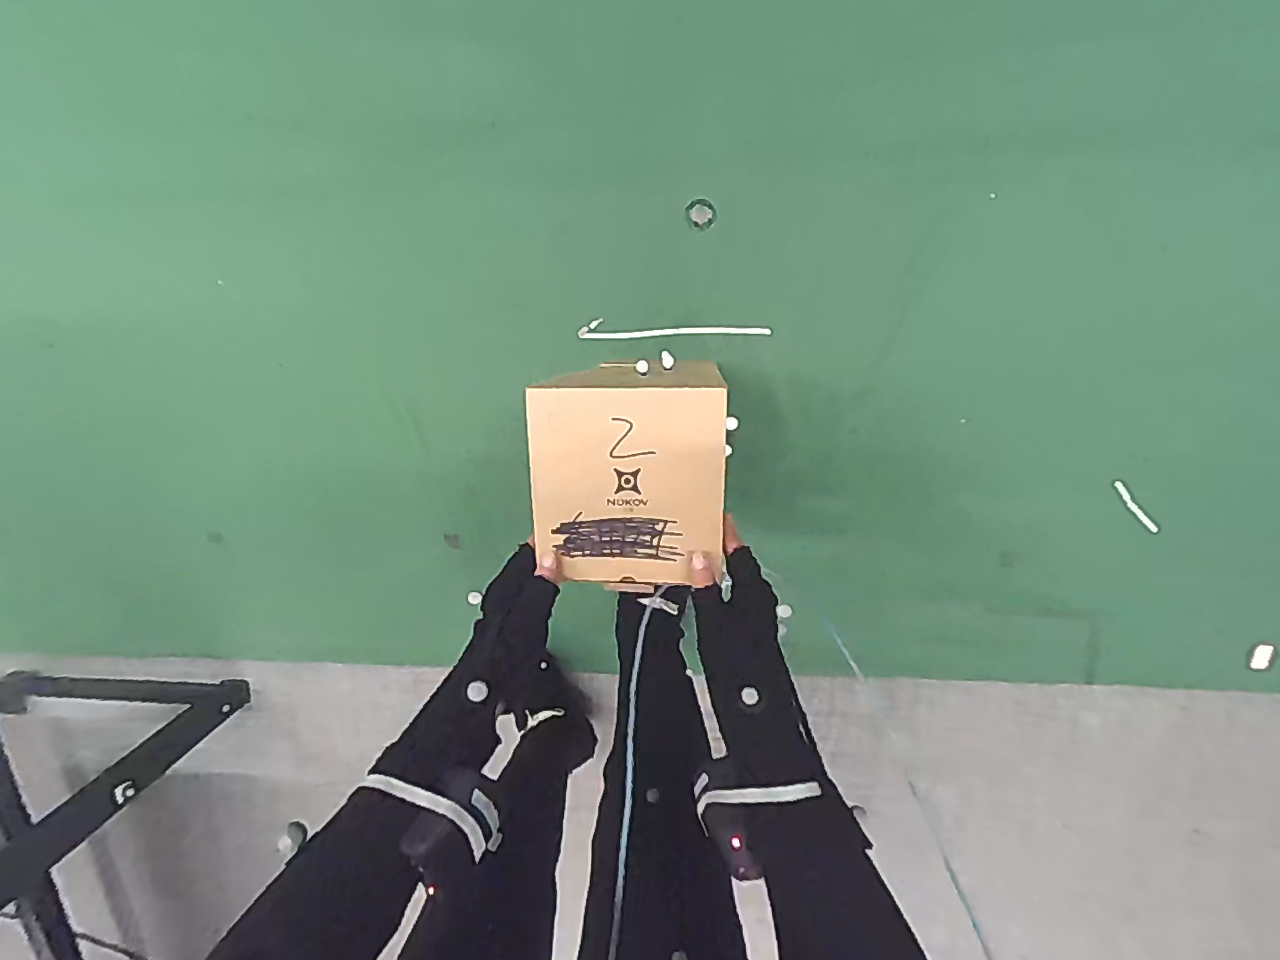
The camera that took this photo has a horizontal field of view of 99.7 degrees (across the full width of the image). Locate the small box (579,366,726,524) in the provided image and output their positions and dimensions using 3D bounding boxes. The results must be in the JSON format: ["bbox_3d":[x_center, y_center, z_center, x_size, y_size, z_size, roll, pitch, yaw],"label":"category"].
[{"bbox_3d":[0.019,-0.054,0.693,0.168,0.176,0.179,1,106,6],"label":"small box"}]
